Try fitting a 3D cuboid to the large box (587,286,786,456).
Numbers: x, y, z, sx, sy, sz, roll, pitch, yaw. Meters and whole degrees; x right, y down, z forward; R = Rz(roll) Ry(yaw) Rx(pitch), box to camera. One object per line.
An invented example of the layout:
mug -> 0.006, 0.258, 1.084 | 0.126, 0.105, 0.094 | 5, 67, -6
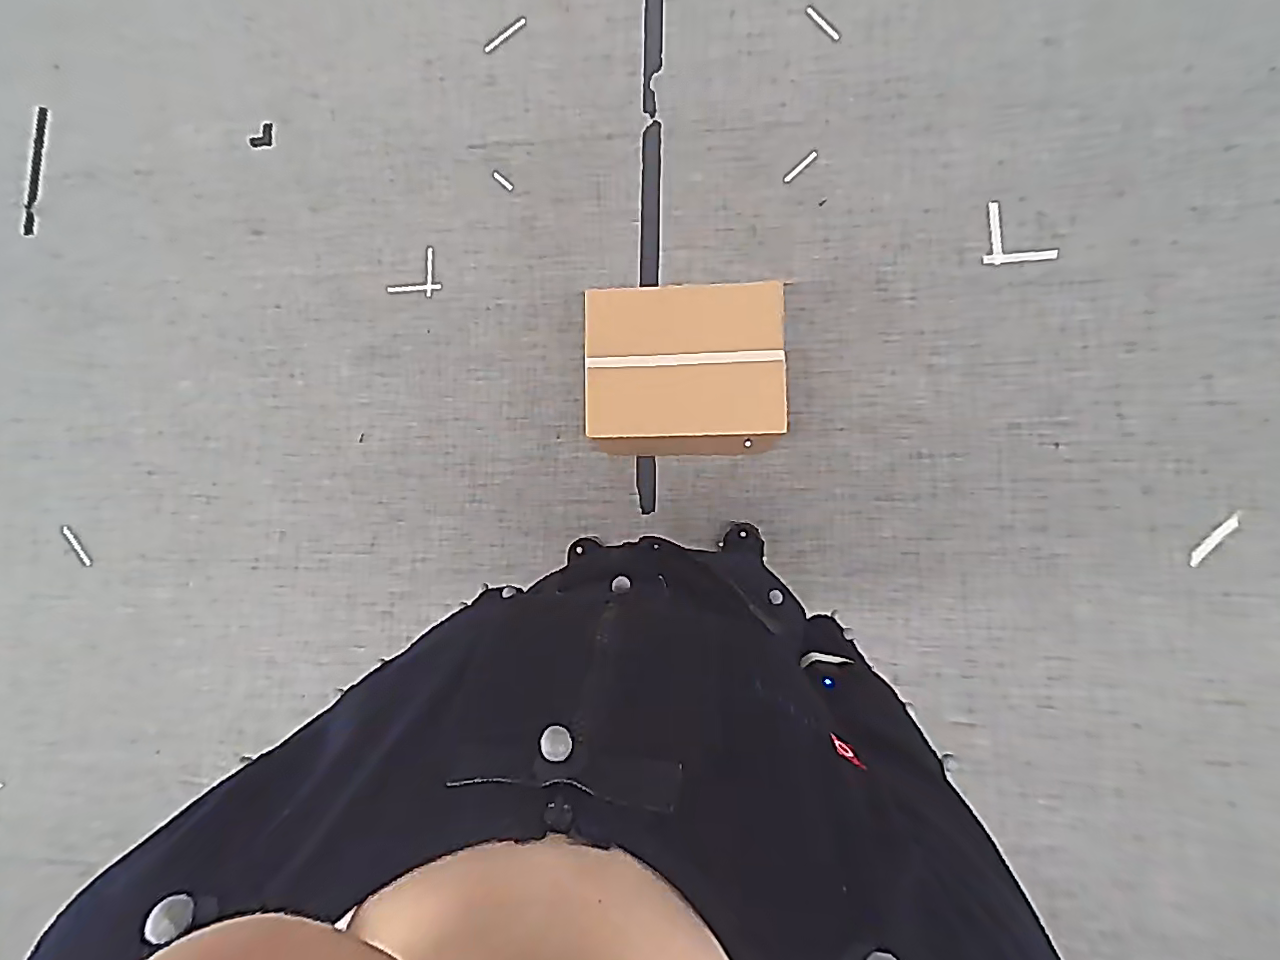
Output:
large box -> 0.106, -0.227, 1.250 | 0.408, 0.320, 0.320 | -1, 85, 5
